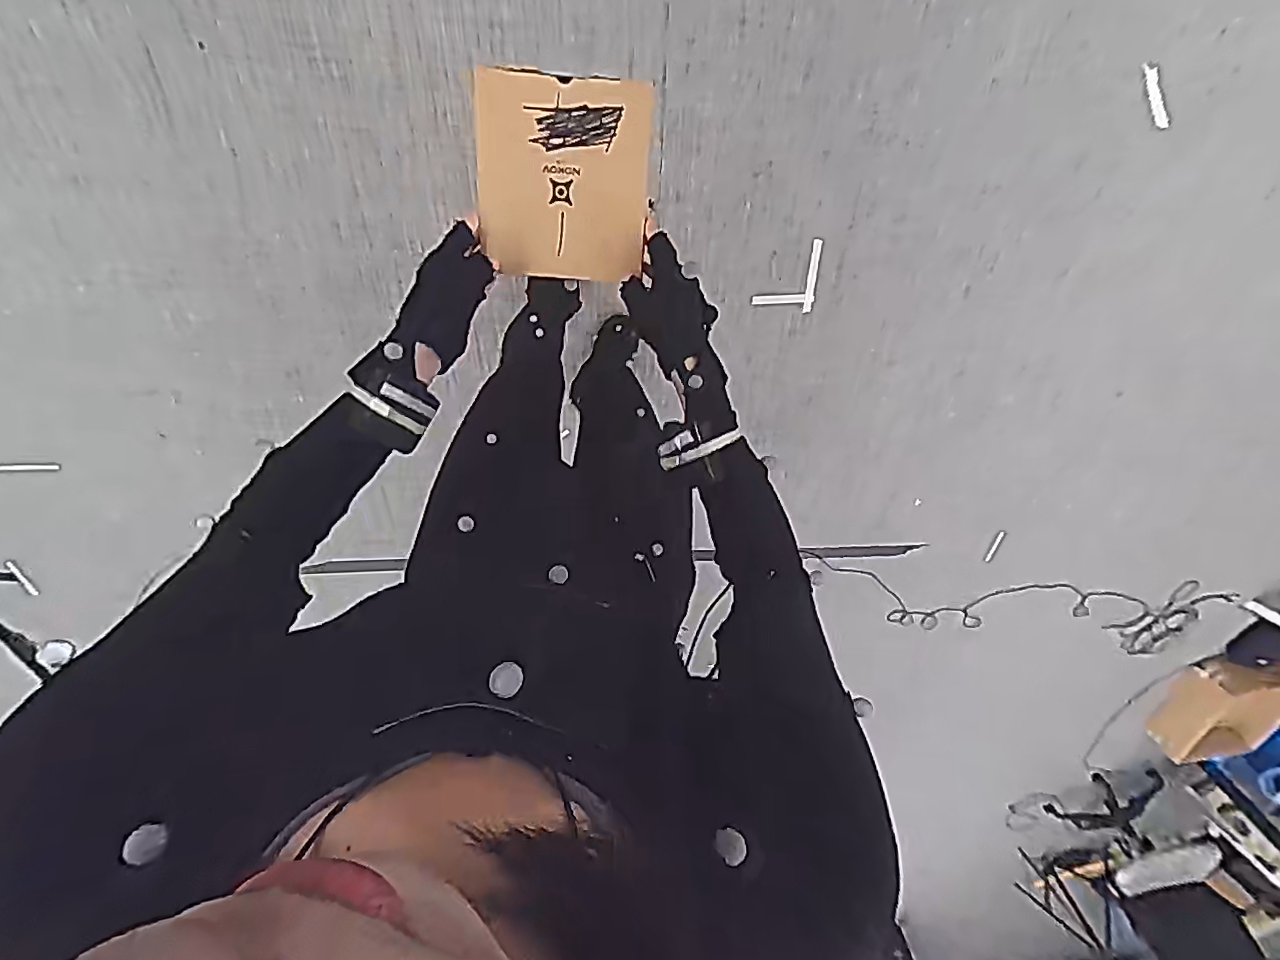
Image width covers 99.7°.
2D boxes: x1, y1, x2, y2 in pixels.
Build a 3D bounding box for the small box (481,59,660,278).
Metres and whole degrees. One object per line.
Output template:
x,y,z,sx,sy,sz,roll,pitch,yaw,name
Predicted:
-0.069,-0.321,0.592,0.168,0.176,0.179,4,112,0,small box
